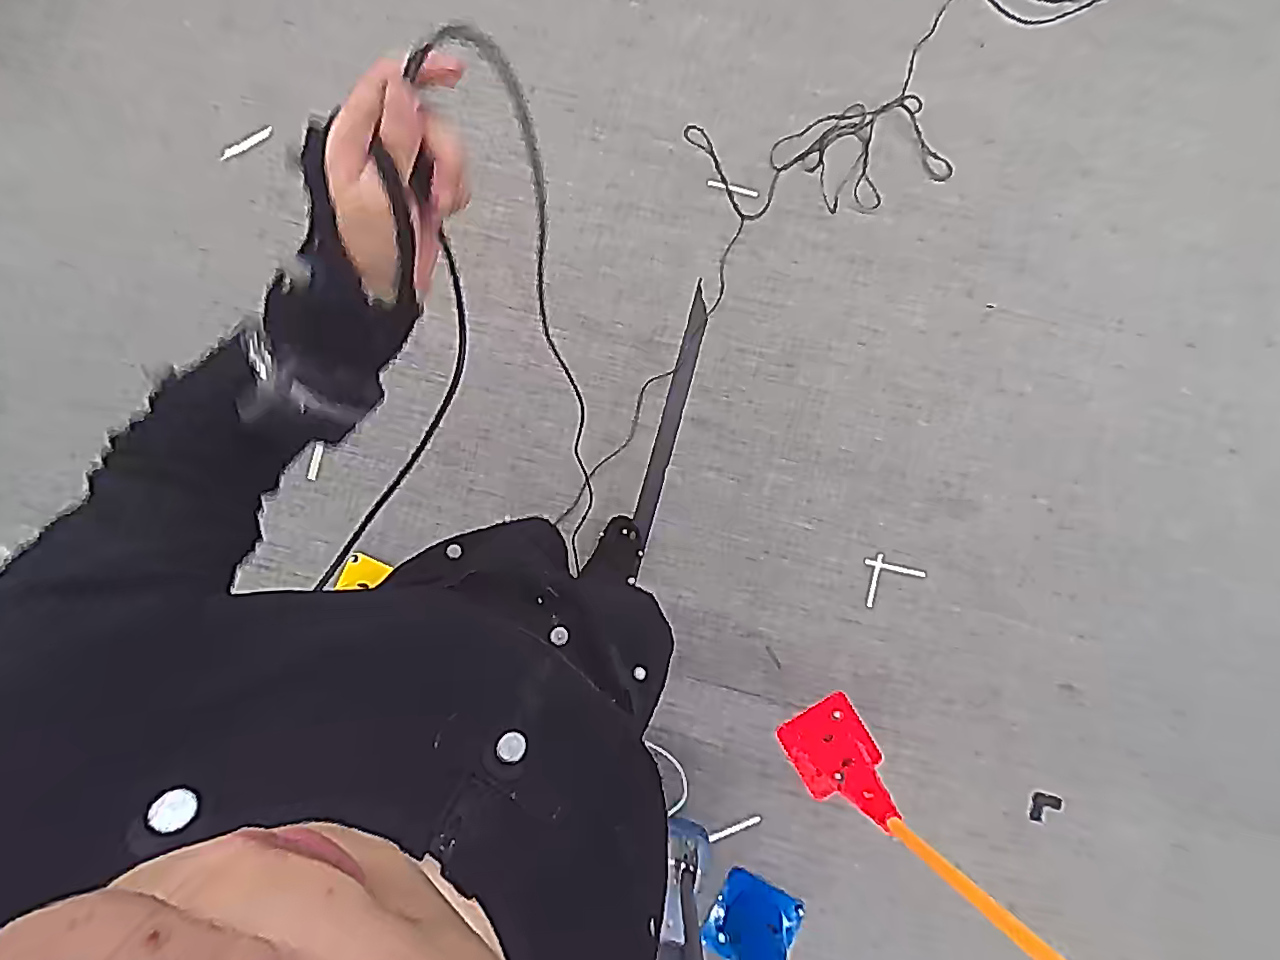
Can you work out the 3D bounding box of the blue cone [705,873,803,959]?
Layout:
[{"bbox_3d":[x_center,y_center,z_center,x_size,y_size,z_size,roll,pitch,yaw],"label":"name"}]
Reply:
[{"bbox_3d":[0.266,1.034,1.110,0.193,0.380,0.192,30,85,3],"label":"blue cone"}]

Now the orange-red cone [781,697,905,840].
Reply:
[{"bbox_3d":[0.455,0.633,1.127,0.199,0.360,0.198,-30,85,0],"label":"orange-red cone"}]
